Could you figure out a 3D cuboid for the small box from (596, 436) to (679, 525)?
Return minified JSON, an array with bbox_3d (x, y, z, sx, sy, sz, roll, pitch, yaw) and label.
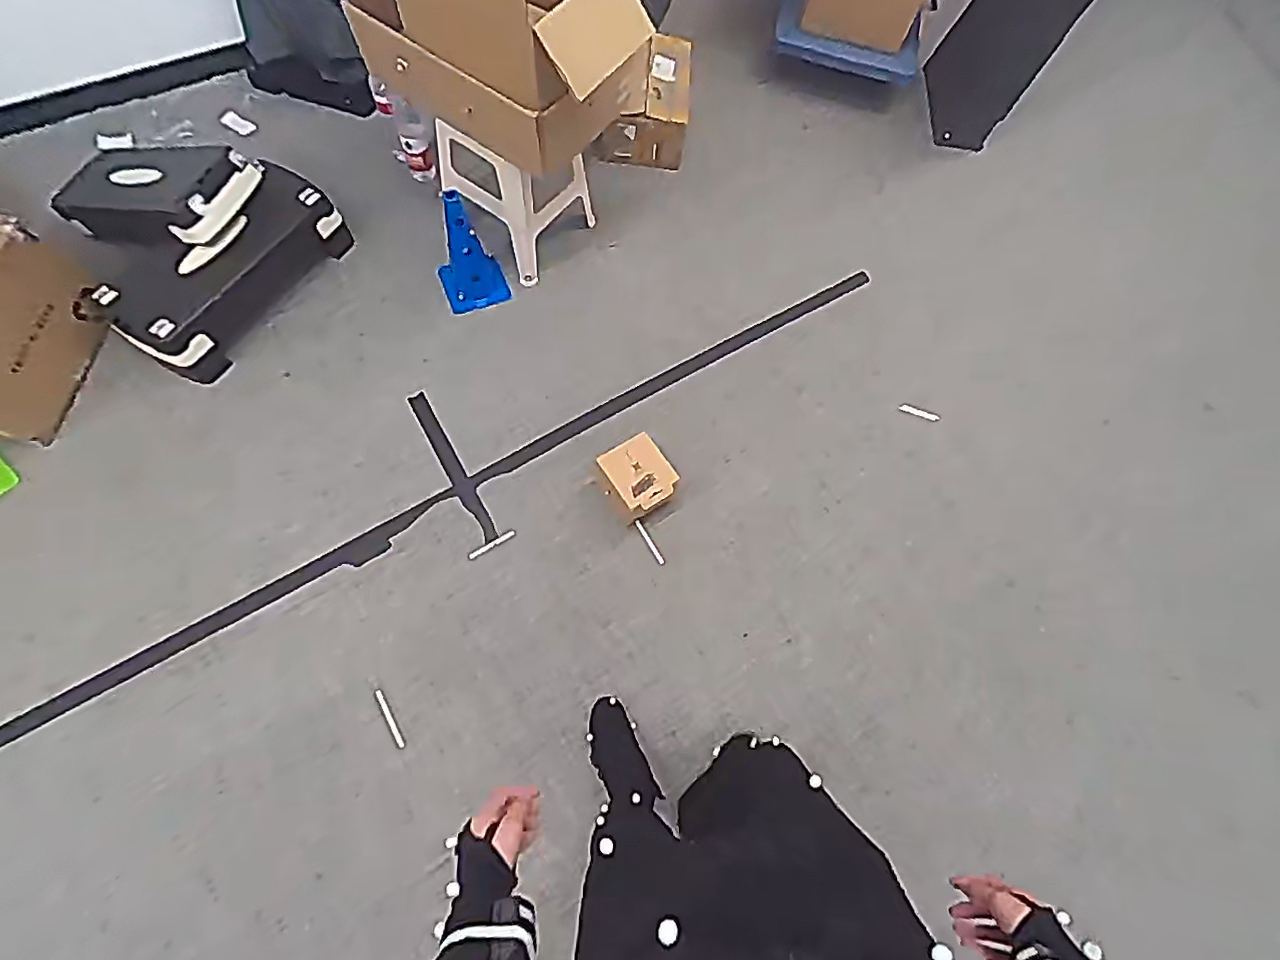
[{"bbox_3d":[-0.012,0.011,1.535,0.168,0.176,0.179,-31,75,-15],"label":"small box"}]
